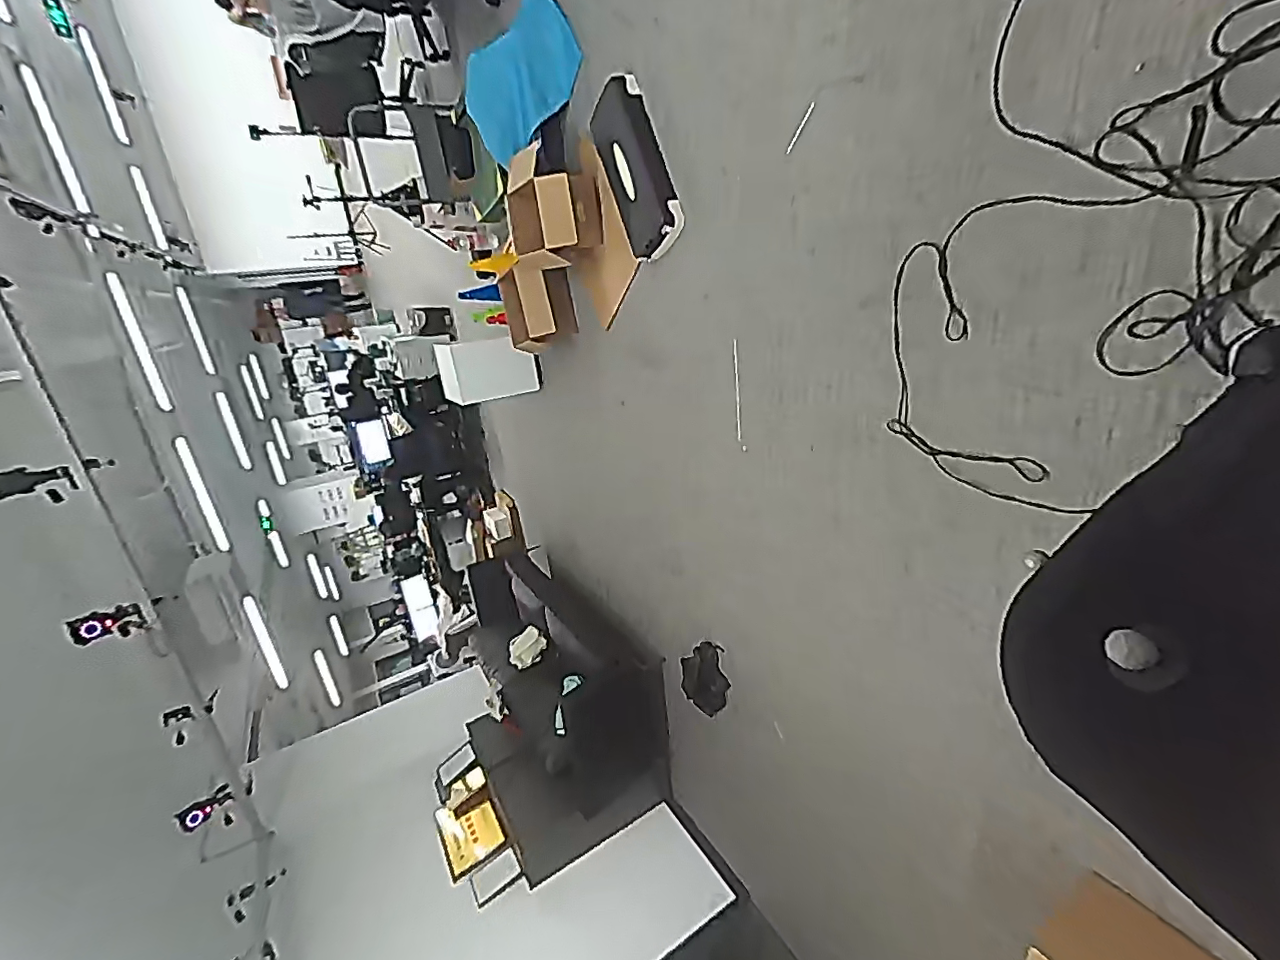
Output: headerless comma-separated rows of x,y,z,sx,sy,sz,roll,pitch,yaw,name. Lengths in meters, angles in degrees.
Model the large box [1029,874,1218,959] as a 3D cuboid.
1.191,1.264,1.255,0.408,0.320,0.320,27,128,56,large box
